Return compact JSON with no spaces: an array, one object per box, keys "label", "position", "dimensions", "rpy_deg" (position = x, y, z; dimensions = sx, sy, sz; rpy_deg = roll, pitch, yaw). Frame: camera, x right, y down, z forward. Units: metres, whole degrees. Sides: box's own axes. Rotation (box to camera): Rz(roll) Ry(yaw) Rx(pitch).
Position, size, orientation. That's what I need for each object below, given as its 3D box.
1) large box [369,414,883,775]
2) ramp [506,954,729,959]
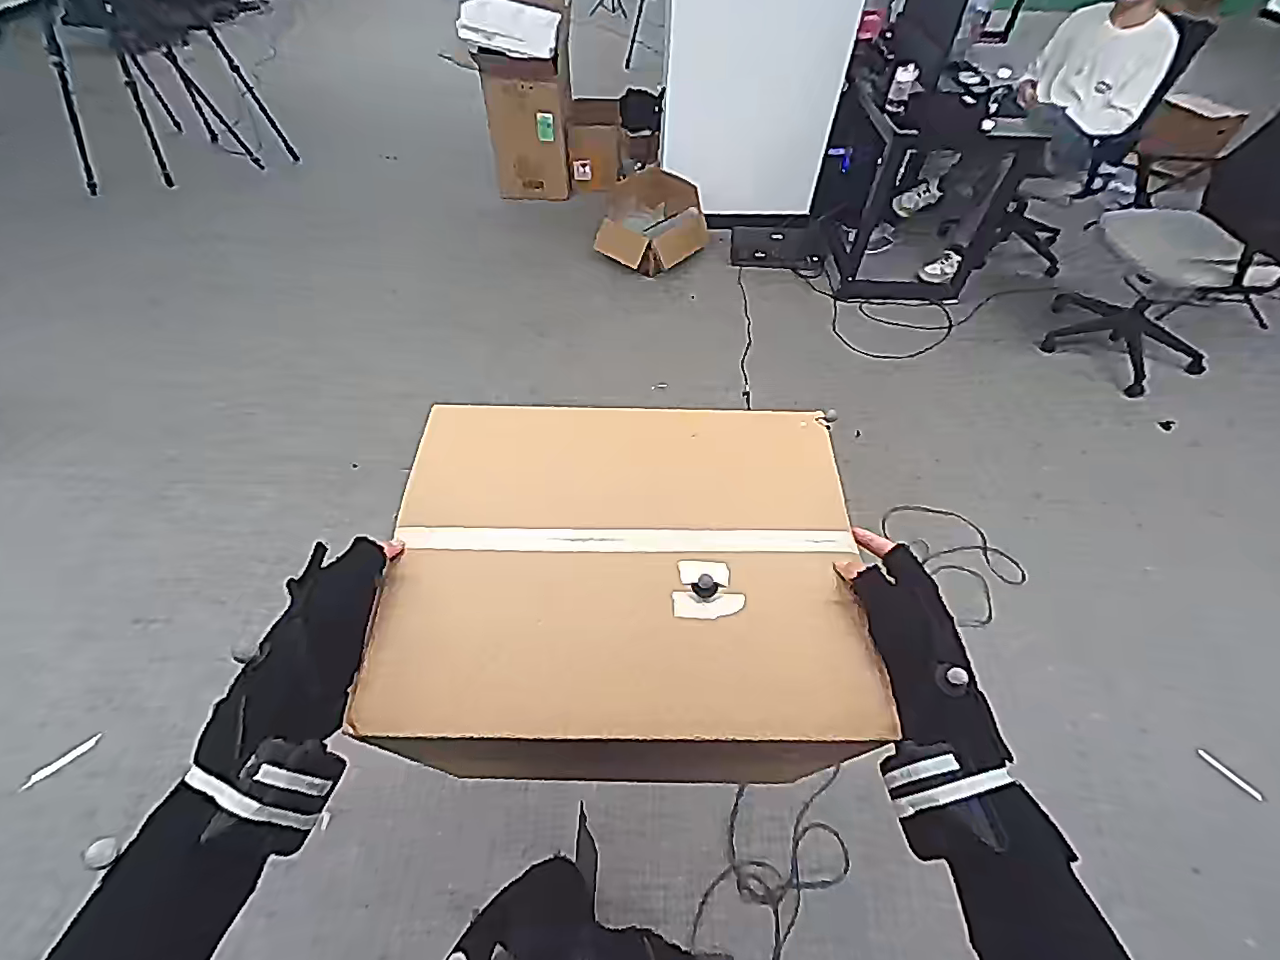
[{"label":"large box","position":[-0.014,0.142,0.617],"dimensions":[0.408,0.320,0.320],"rpy_deg":[1,56,-1]},{"label":"ramp","position":[-0.055,1.326,0.759],"dimensions":[0.509,0.206,0.991],"rpy_deg":[-1,51,0]}]
